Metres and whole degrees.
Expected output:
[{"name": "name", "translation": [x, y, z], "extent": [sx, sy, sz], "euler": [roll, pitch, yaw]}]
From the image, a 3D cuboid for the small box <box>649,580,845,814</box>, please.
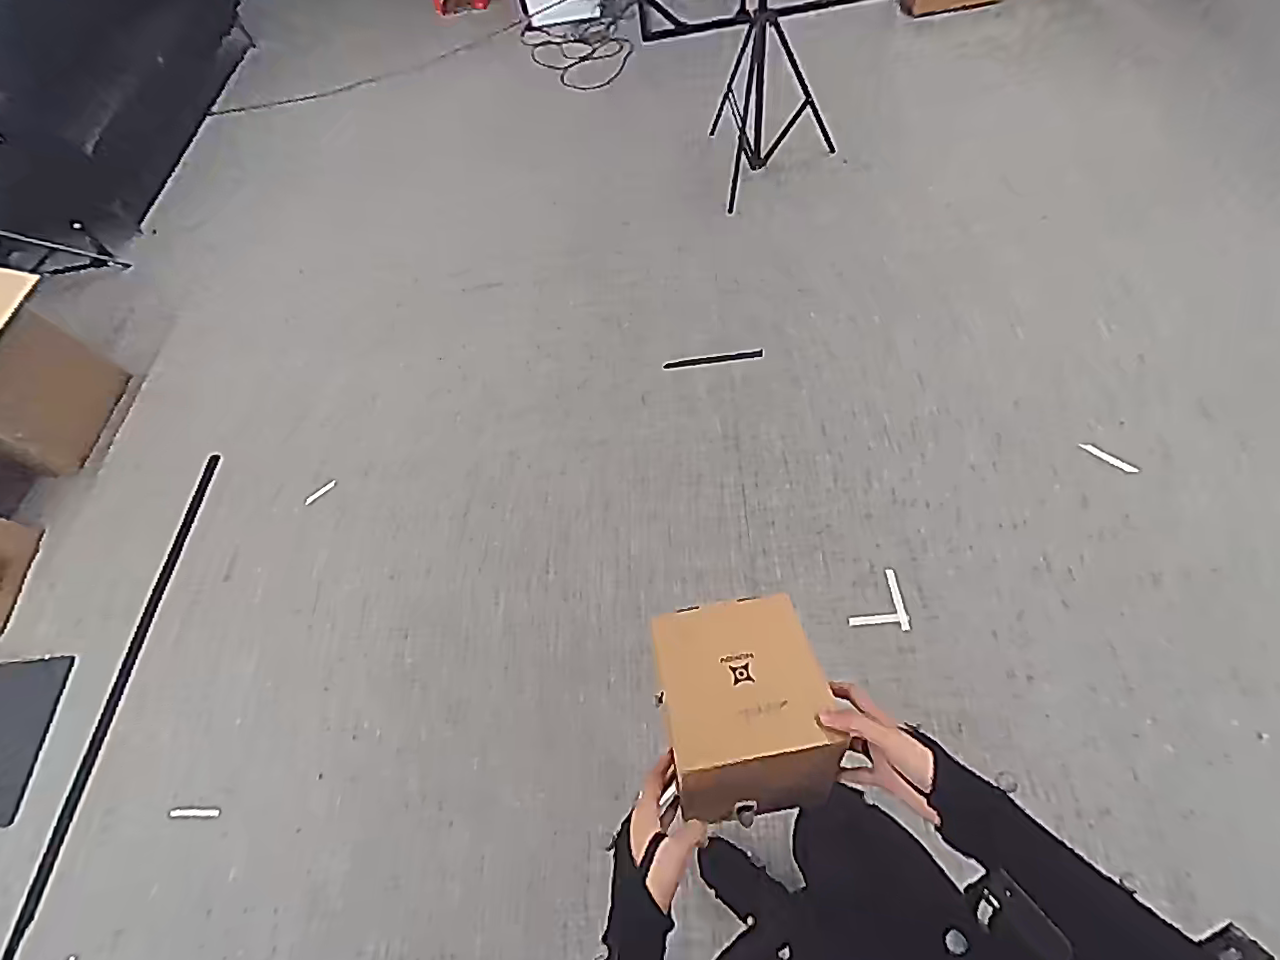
[{"name": "small box", "translation": [0.105, 0.243, 0.615], "extent": [0.168, 0.176, 0.179], "euler": [-9, 41, -4]}]
